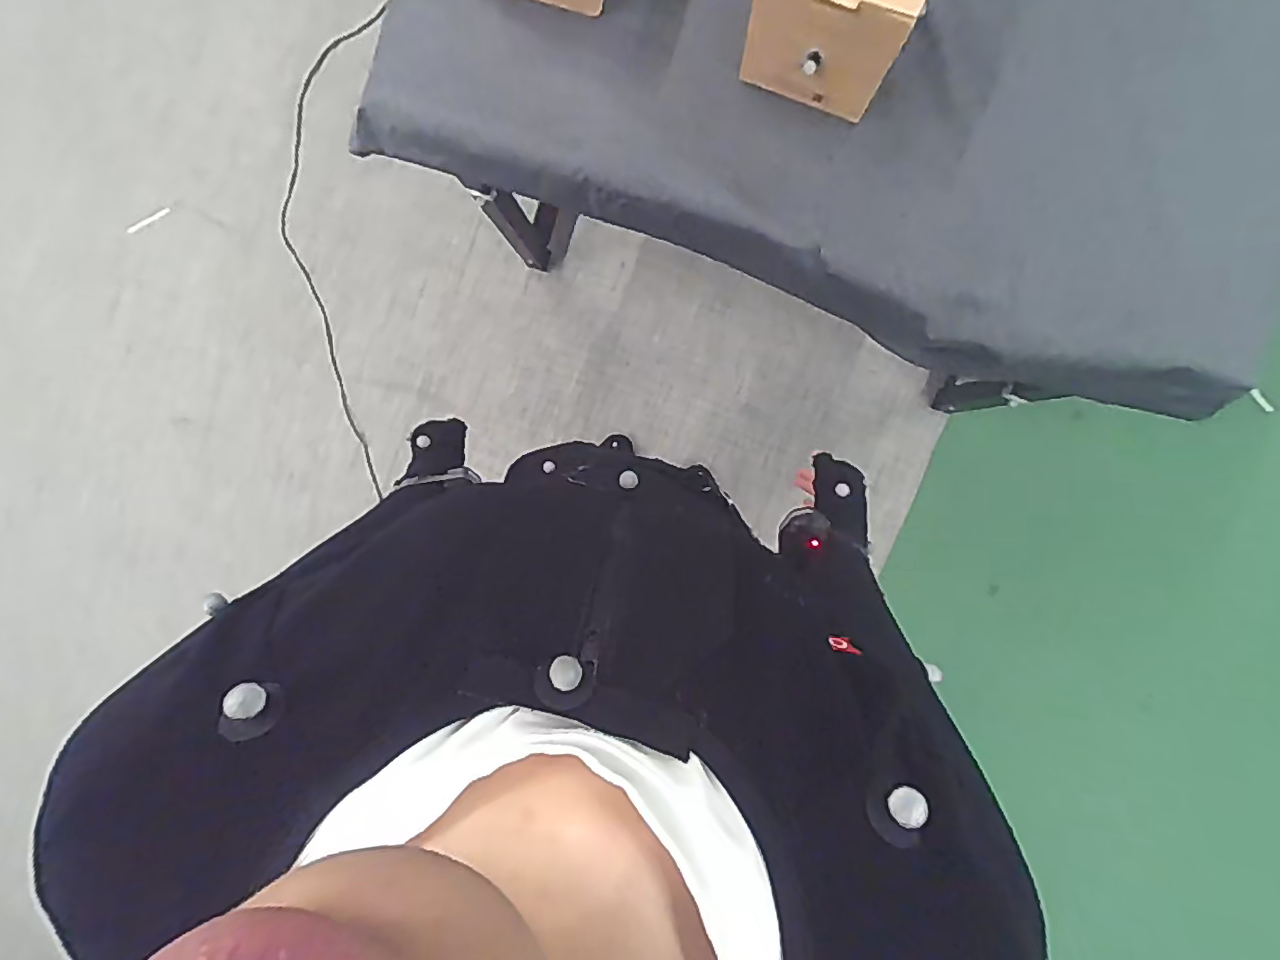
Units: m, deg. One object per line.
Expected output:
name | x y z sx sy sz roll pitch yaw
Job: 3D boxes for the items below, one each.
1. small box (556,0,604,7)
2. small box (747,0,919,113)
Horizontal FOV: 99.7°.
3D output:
small box | -0.114 -0.703 0.619 0.179 0.176 0.168 17 95 1
small box | 0.230 -0.565 0.609 0.168 0.176 0.179 22 95 2
